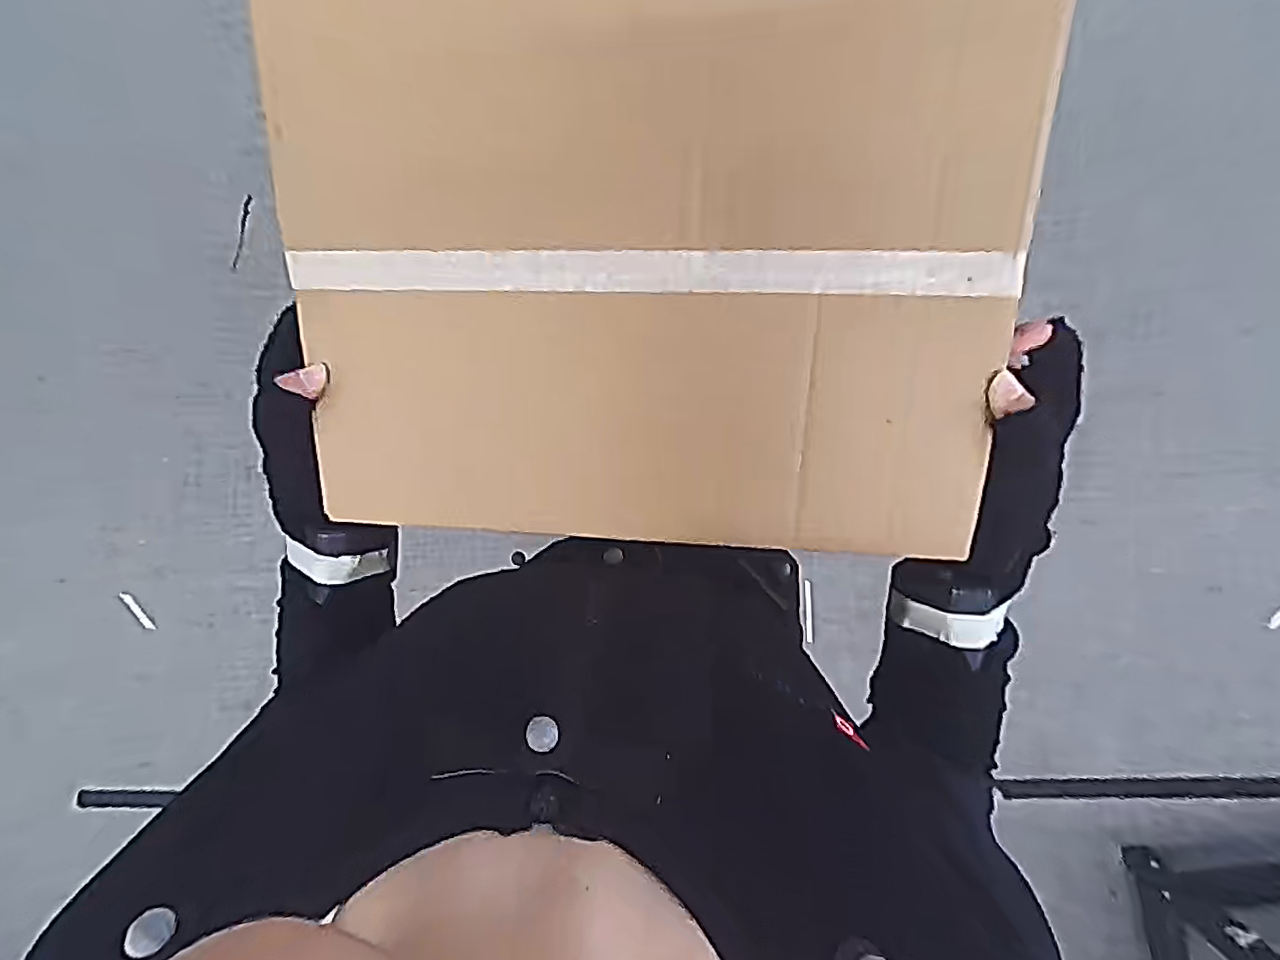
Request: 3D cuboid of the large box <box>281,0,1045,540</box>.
[{"bbox_3d":[0.012,-0.154,0.454,0.408,0.320,0.320,3,106,6],"label":"large box"}]
